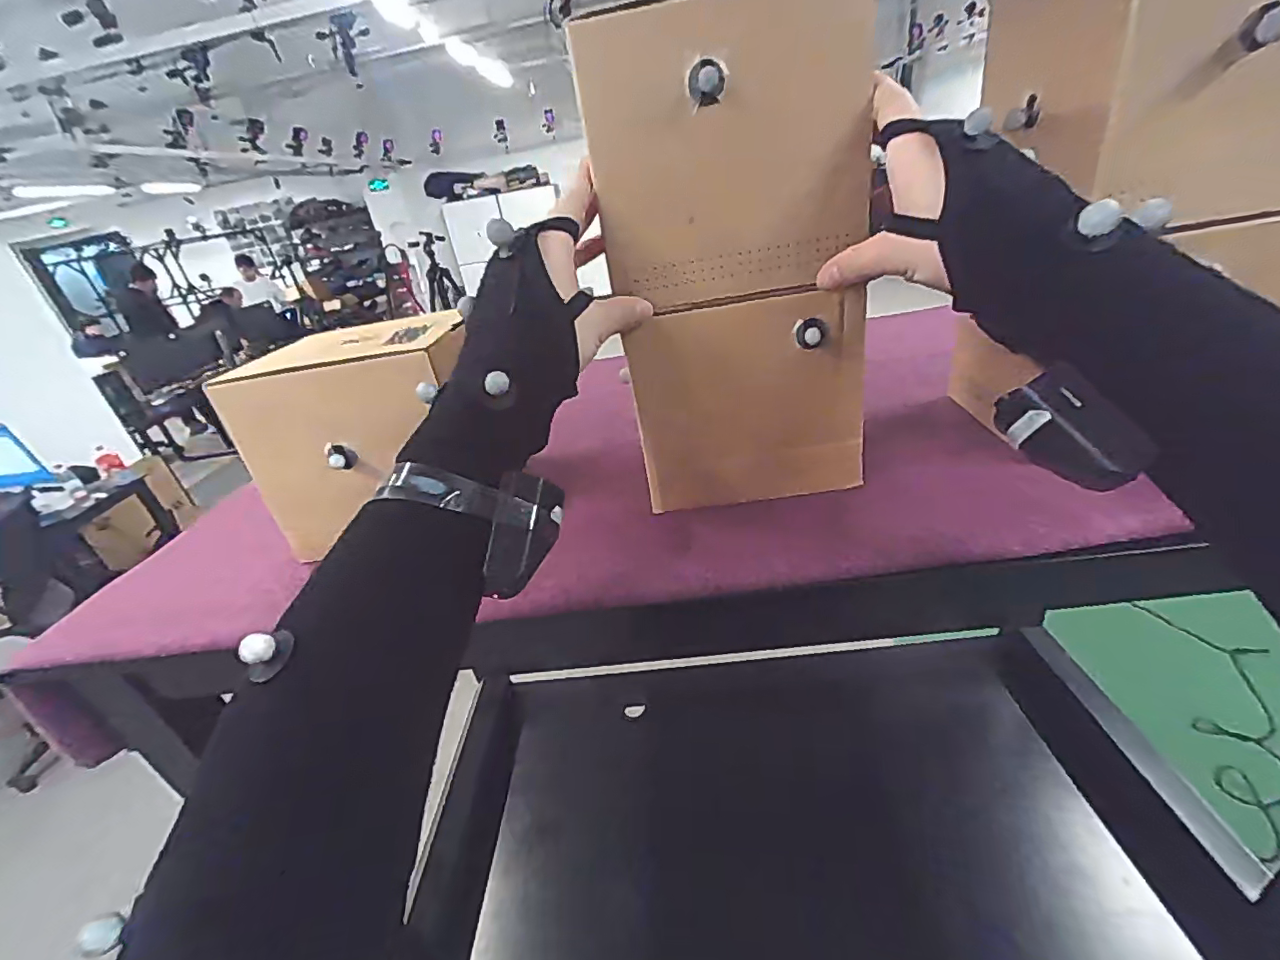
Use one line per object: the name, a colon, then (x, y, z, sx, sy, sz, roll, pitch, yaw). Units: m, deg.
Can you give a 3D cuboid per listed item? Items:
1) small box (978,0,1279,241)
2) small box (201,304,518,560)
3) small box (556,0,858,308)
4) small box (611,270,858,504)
small box: (0.355, -0.272, 0.366, 0.179, 0.176, 0.168, -8, 29, 9)
small box: (-0.227, -0.048, 0.499, 0.179, 0.176, 0.168, -9, 28, 4)
small box: (0.052, -0.235, 0.403, 0.179, 0.176, 0.168, -8, 29, 5)
small box: (0.079, -0.092, 0.479, 0.179, 0.176, 0.168, -8, 29, 4)
